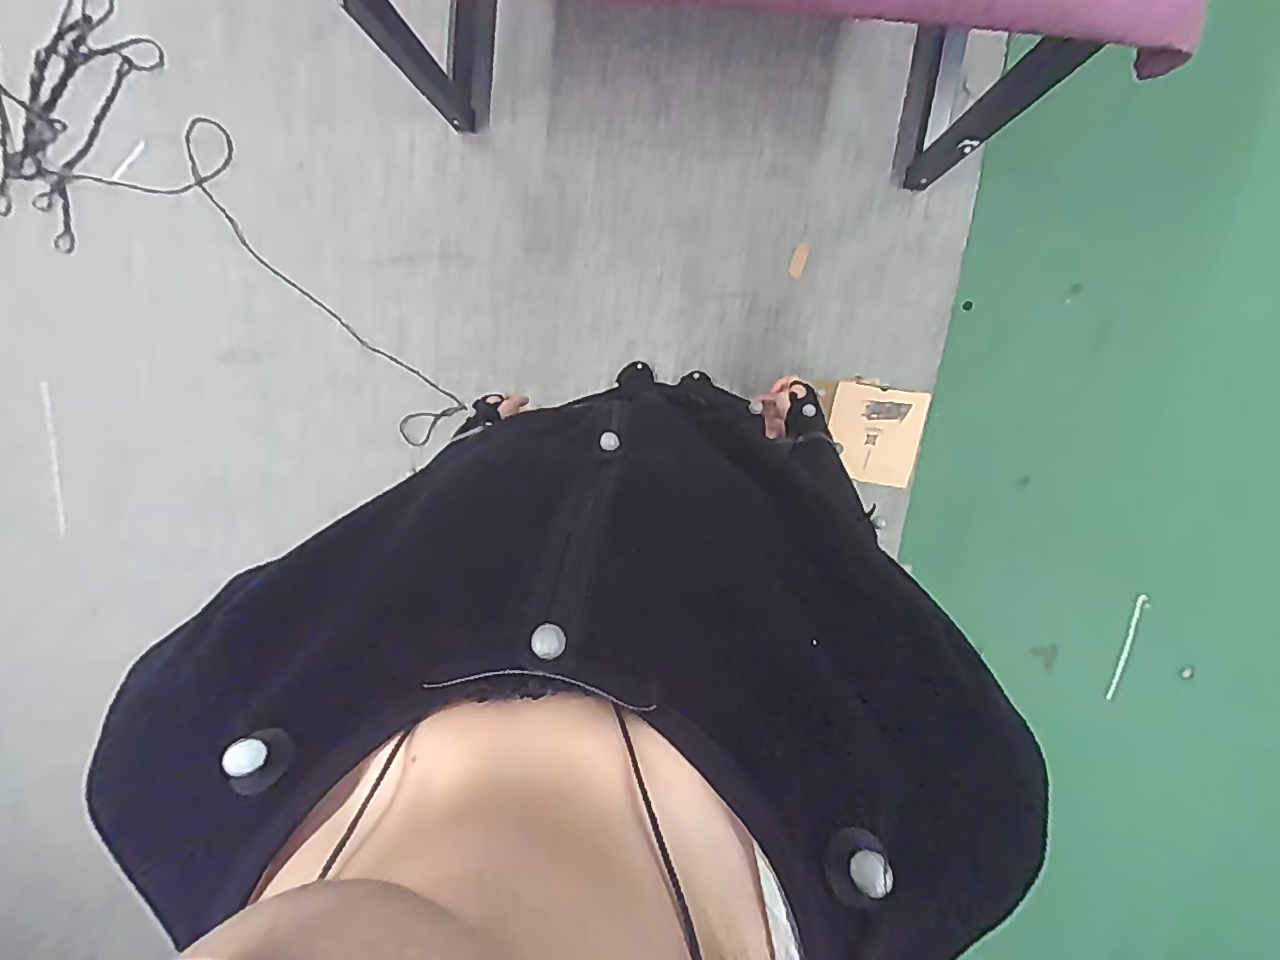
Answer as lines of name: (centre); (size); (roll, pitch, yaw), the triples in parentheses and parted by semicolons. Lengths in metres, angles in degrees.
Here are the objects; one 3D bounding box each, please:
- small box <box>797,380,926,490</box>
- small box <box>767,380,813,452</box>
small box: (0.416, -0.095, 1.047); (0.168, 0.176, 0.179); (10, 102, 2)
small box: (0.438, -0.147, 1.371); (0.179, 0.176, 0.168); (18, 102, 1)
